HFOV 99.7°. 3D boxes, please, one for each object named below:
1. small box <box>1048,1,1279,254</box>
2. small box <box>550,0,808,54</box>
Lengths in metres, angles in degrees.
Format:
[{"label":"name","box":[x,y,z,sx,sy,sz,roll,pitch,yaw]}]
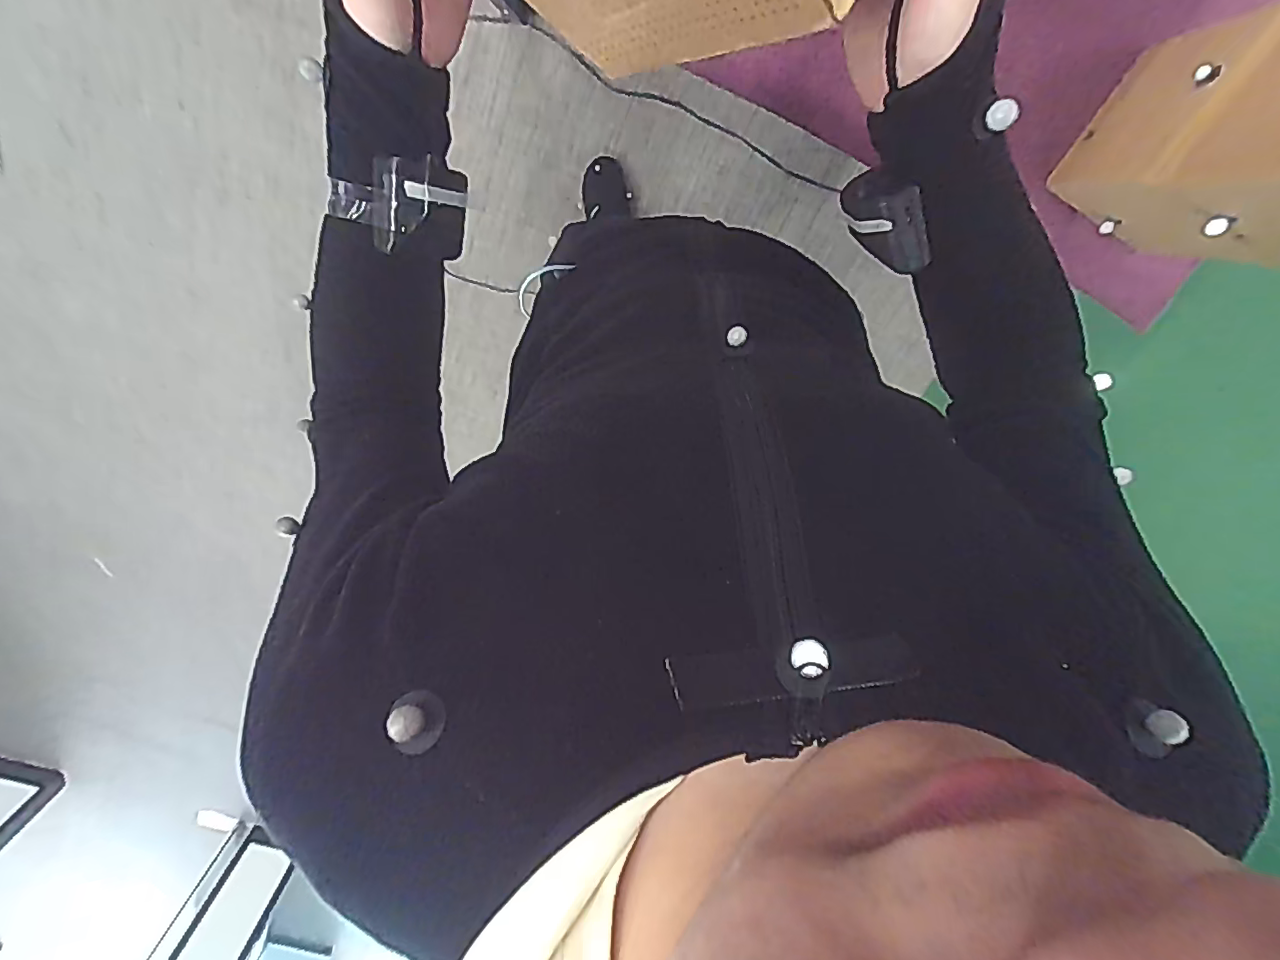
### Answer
[{"label":"small box","box":[0.629,-0.381,0.608,0.179,0.176,0.168,25,115,-11]},{"label":"small box","box":[0.006,-0.326,0.228,0.176,0.179,0.168,12,103,-46]}]
